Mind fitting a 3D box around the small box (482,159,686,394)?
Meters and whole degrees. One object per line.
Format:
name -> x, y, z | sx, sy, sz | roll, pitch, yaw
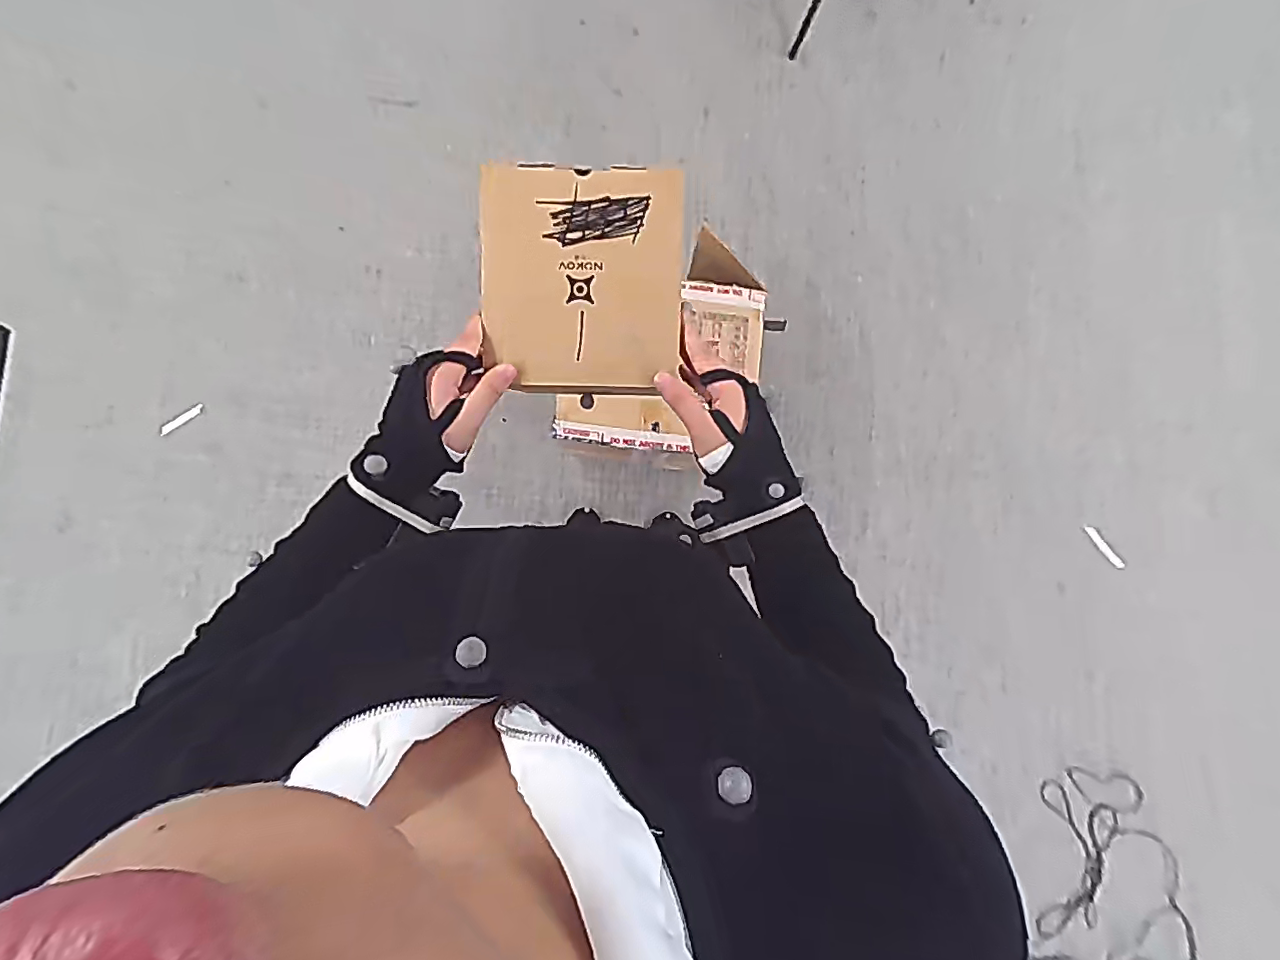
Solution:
small box -> -0.048, -0.178, 0.522 | 0.168, 0.176, 0.179 | 1, 97, 0
